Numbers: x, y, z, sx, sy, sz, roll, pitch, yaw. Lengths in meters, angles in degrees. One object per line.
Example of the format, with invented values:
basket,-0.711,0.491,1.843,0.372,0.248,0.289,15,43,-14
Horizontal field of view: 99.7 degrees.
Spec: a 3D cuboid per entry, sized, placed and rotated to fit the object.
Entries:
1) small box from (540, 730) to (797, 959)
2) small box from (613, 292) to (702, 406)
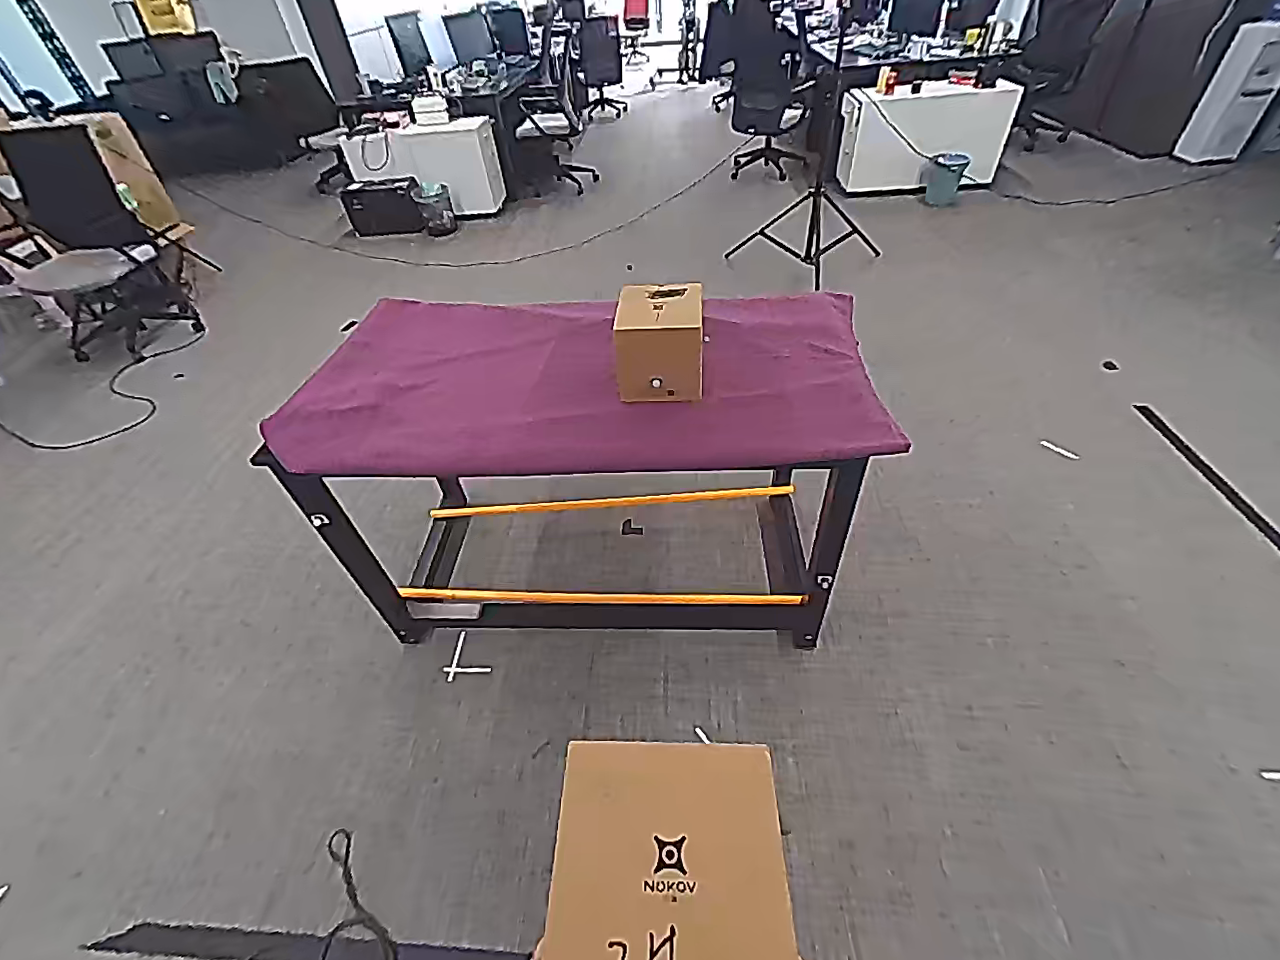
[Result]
small box,0.023,0.328,0.437,0.168,0.176,0.179,-1,41,4
small box,0.042,-0.271,1.116,0.168,0.176,0.179,0,44,6
